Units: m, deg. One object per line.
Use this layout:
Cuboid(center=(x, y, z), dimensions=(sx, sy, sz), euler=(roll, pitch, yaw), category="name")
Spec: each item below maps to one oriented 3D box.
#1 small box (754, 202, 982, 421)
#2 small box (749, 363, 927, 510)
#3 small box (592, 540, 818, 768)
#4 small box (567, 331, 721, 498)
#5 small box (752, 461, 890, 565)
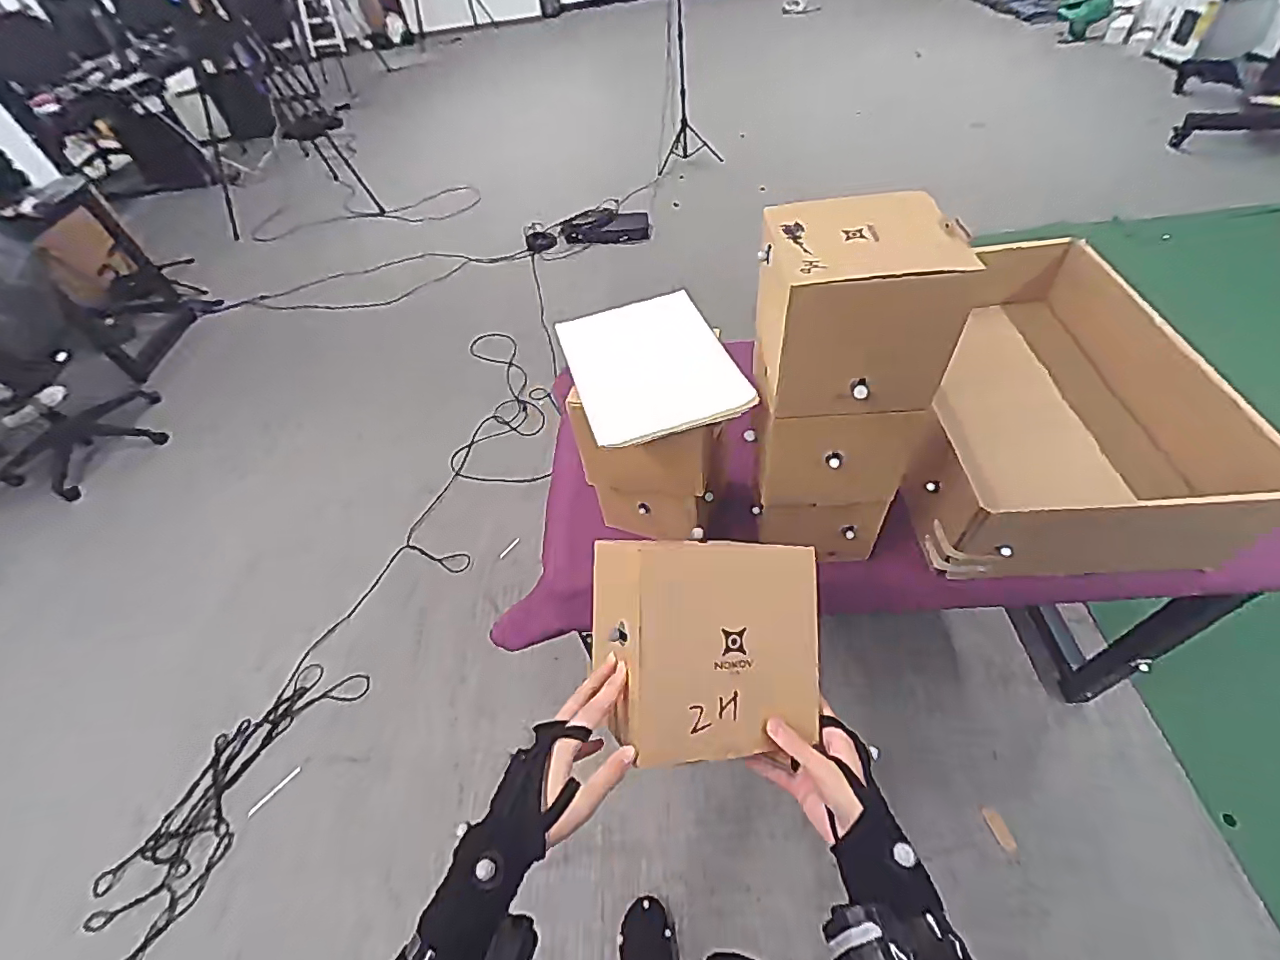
Cuboid(center=(0.228, -0.182, 0.599), dimensions=(0.179, 0.176, 0.168), euler=(-3, 48, 4), category="small box")
Cuboid(center=(0.246, -0.075, 0.723), dimensions=(0.179, 0.176, 0.168), euler=(-3, 48, 6), category="small box")
Cuboid(center=(0.052, 0.149, 0.524), dimensions=(0.168, 0.176, 0.179), euler=(4, 85, -17), category="small box")
Cuboid(center=(0.018, -0.090, 0.771), dimensions=(0.179, 0.176, 0.168), euler=(5, 51, 13), category="small box")
Cuboid(center=(0.270, 0.023, 0.852), dimensions=(0.168, 0.176, 0.179), euler=(-3, 48, 5), category="small box")
